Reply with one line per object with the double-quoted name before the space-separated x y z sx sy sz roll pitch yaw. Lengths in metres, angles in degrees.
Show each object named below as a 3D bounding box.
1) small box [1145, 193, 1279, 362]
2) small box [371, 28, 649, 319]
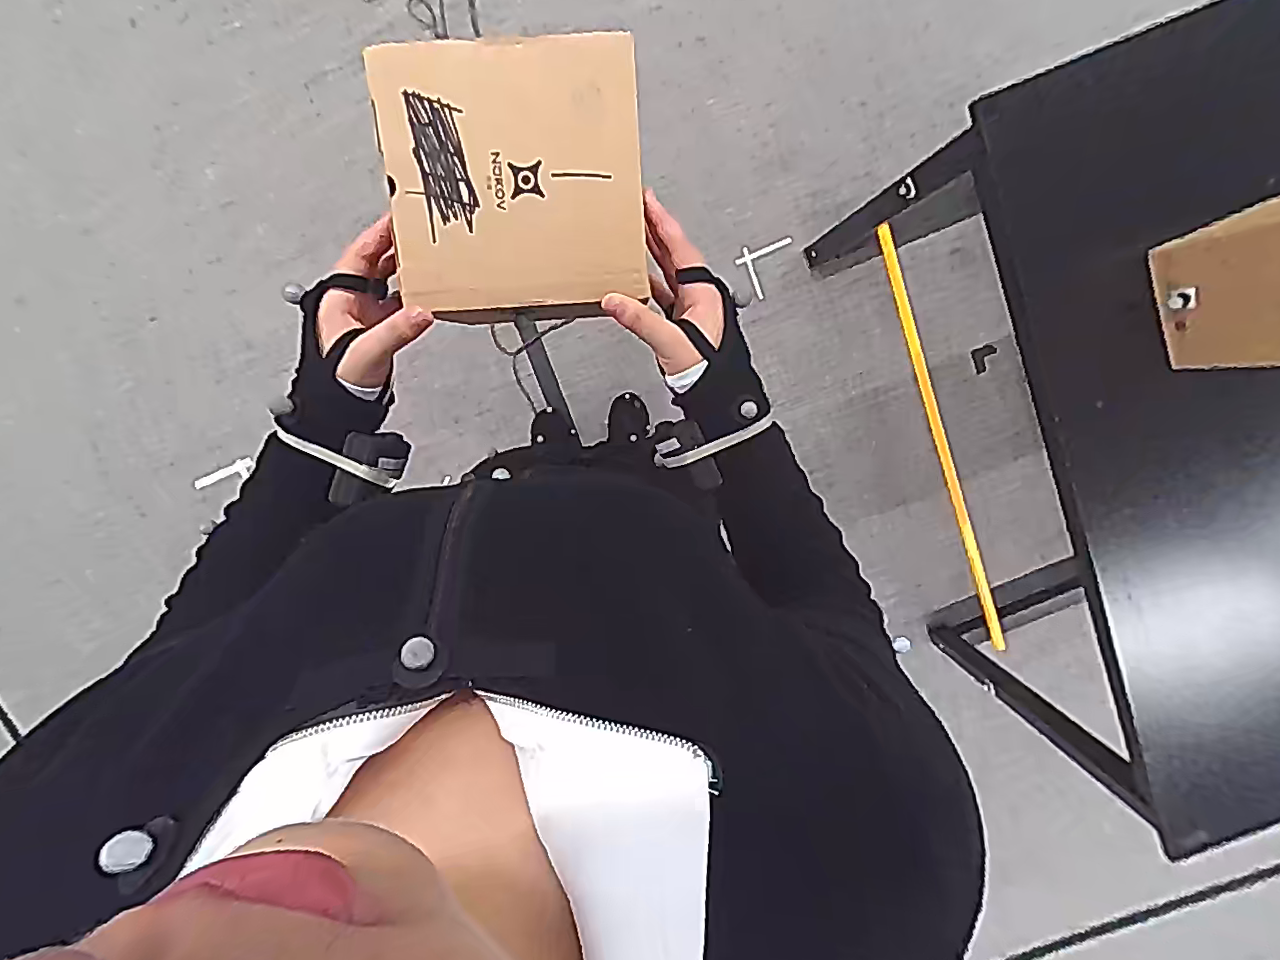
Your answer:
"small box" 0.776 -0.252 0.645 0.179 0.176 0.168 -23 99 4
"small box" -0.085 -0.225 0.442 0.179 0.176 0.168 -4 104 -2
